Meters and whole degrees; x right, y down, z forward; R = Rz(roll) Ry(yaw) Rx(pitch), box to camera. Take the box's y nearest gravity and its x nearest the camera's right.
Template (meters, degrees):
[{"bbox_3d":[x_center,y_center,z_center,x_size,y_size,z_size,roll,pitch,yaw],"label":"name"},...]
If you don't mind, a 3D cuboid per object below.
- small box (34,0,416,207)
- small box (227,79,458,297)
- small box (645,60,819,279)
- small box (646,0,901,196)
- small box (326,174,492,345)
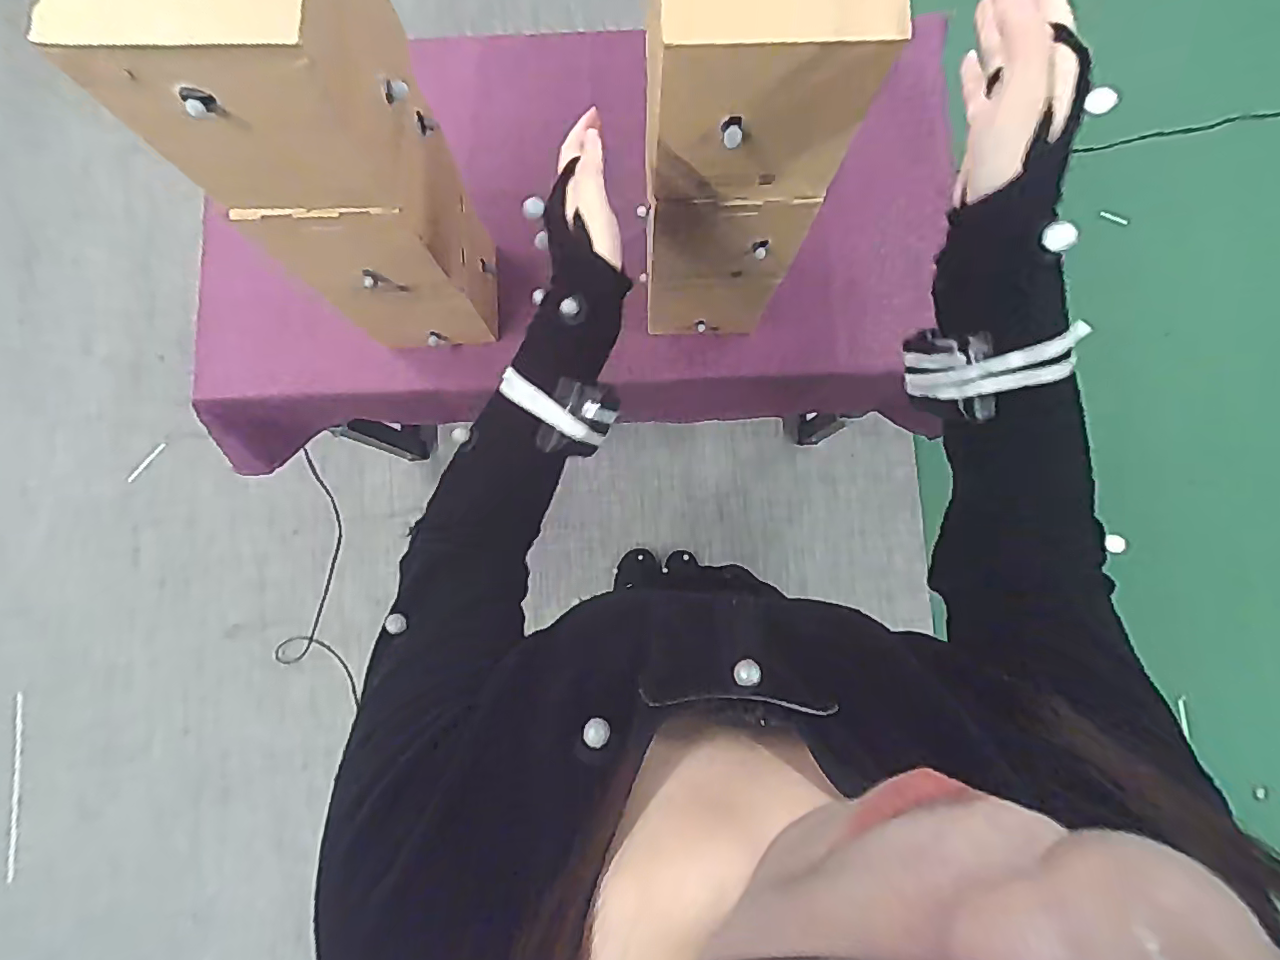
[{"bbox_3d":[-0.306,-0.347,0.440,0.179,0.176,0.168,0,83,-1],"label":"small box"},{"bbox_3d":[-0.312,-0.326,0.603,0.168,0.176,0.179,-2,83,0],"label":"small box"},{"bbox_3d":[0.090,-0.340,0.608,0.168,0.176,0.179,-2,83,-1],"label":"small box"},{"bbox_3d":[0.090,-0.360,0.446,0.168,0.176,0.179,-2,83,-1],"label":"small box"},{"bbox_3d":[-0.313,-0.301,0.766,0.179,0.176,0.168,-4,83,-1],"label":"small box"}]
